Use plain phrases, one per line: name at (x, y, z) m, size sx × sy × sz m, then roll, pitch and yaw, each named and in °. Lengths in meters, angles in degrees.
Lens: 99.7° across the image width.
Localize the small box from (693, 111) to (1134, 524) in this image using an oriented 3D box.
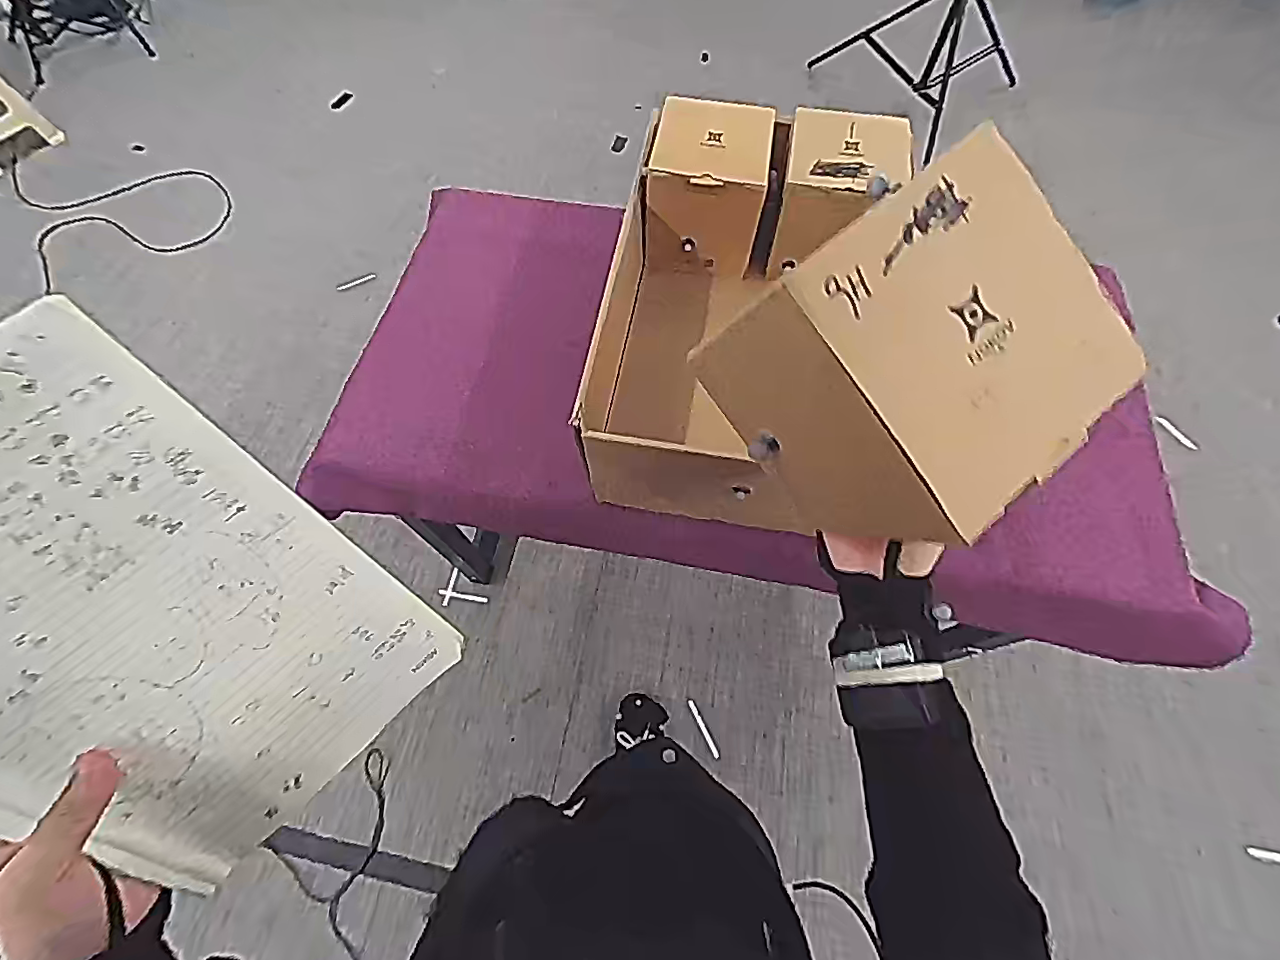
small box at (0.167, -0.091, 0.378) m, size 0.168 × 0.176 × 0.179 m, roll -39°, pitch 97°, yaw -11°
